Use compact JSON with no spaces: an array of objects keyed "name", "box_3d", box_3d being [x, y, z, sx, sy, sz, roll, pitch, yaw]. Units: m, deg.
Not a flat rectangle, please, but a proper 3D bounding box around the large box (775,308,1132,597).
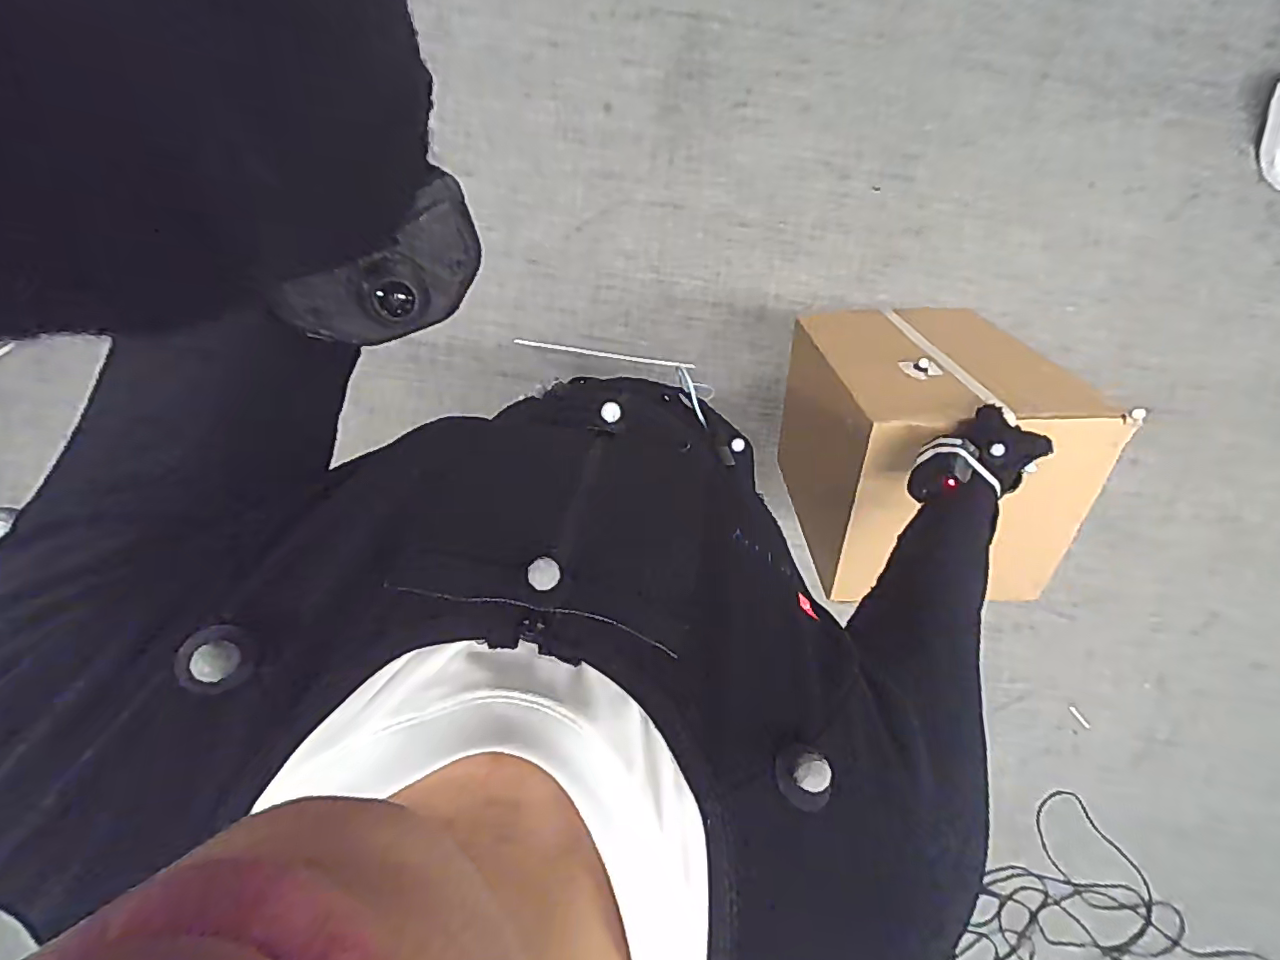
[{"name":"large box","box_3d":[0.434,-0.064,0.889,0.320,0.408,0.320,-2,126,1]}]
